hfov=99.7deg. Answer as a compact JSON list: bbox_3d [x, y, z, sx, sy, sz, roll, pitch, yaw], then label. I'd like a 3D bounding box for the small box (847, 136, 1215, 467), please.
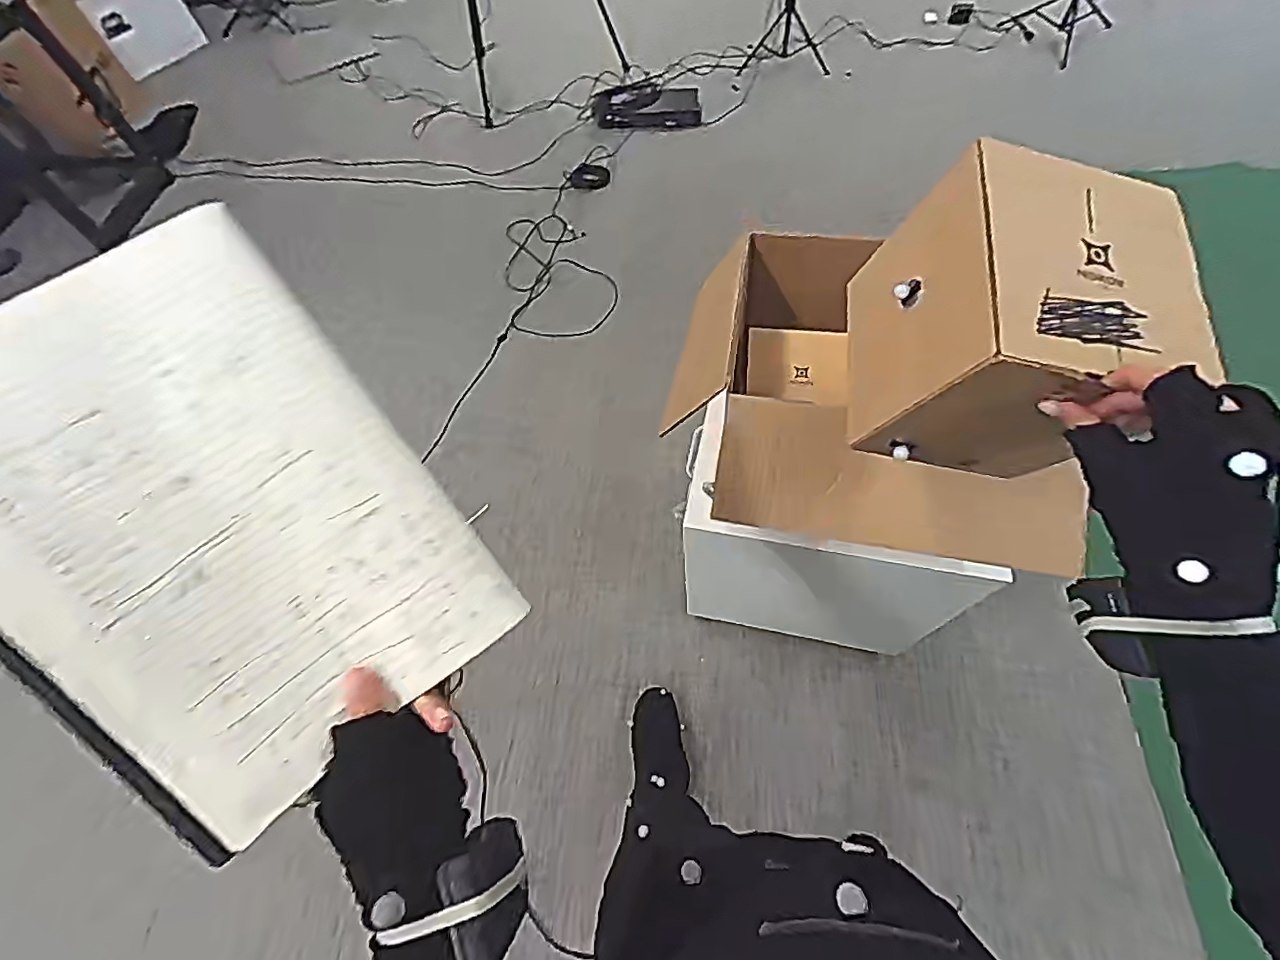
[{"bbox_3d":[0.286,-0.123,0.438,0.168,0.176,0.179,10,71,-8],"label":"small box"}]
